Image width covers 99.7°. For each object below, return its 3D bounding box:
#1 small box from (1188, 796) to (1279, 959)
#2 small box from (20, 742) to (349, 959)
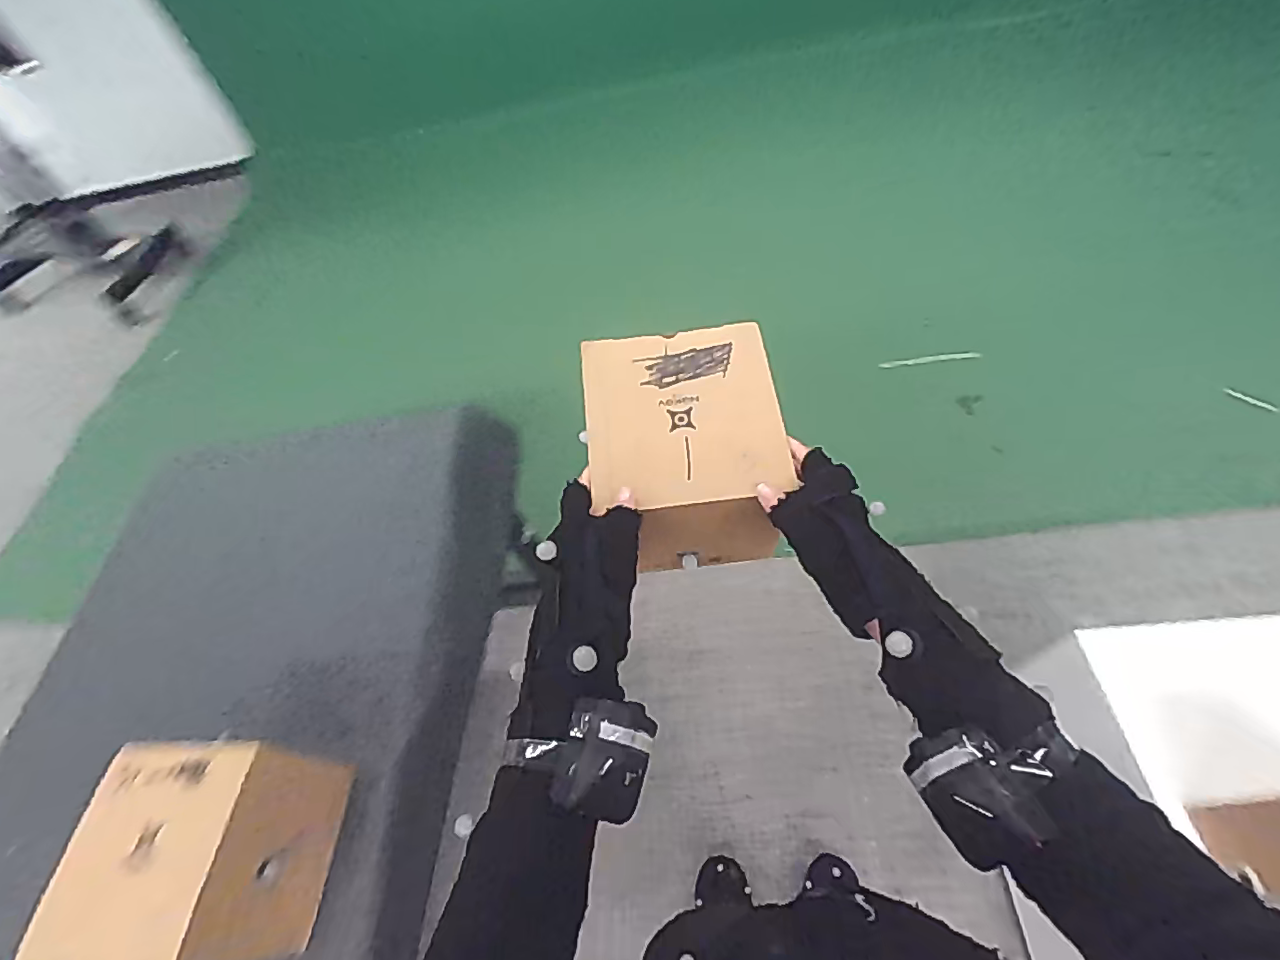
[{"bbox_3d":[0.694,0.384,0.499,0.179,0.176,0.168,-11,54,6],"label":"small box"},{"bbox_3d":[-0.446,0.382,0.568,0.168,0.176,0.179,-5,56,9],"label":"small box"}]
